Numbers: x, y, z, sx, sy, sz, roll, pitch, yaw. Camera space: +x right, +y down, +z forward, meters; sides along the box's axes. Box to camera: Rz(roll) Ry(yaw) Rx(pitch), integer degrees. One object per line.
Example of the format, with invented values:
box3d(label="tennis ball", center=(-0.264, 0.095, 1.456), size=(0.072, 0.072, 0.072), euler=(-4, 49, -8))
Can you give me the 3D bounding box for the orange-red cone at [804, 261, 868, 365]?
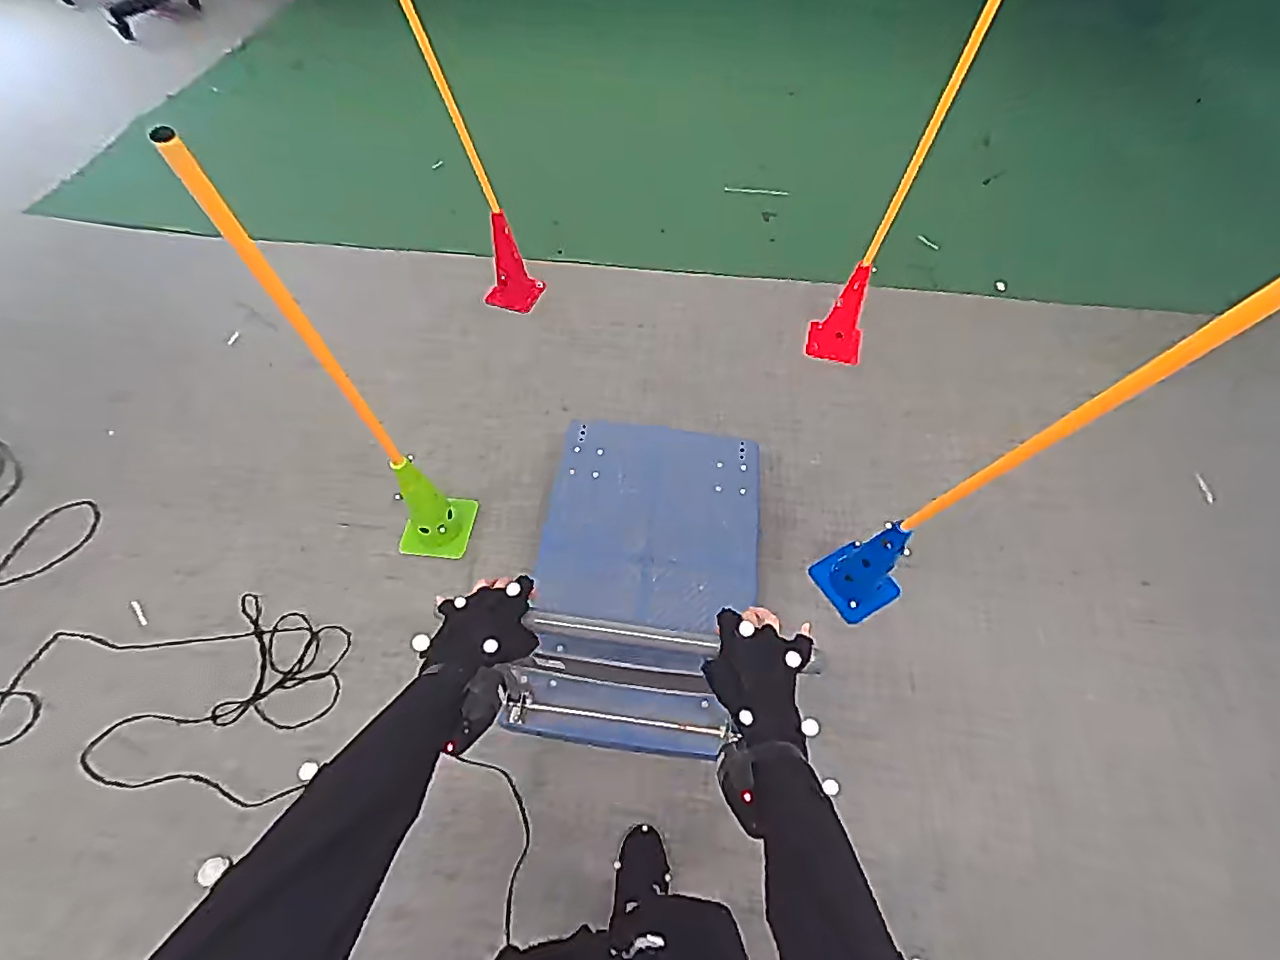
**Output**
box3d(label="orange-red cone", center=(0.742, -0.620, 1.943), size=(0.198, 0.360, 0.199), euler=(15, 60, 10))
